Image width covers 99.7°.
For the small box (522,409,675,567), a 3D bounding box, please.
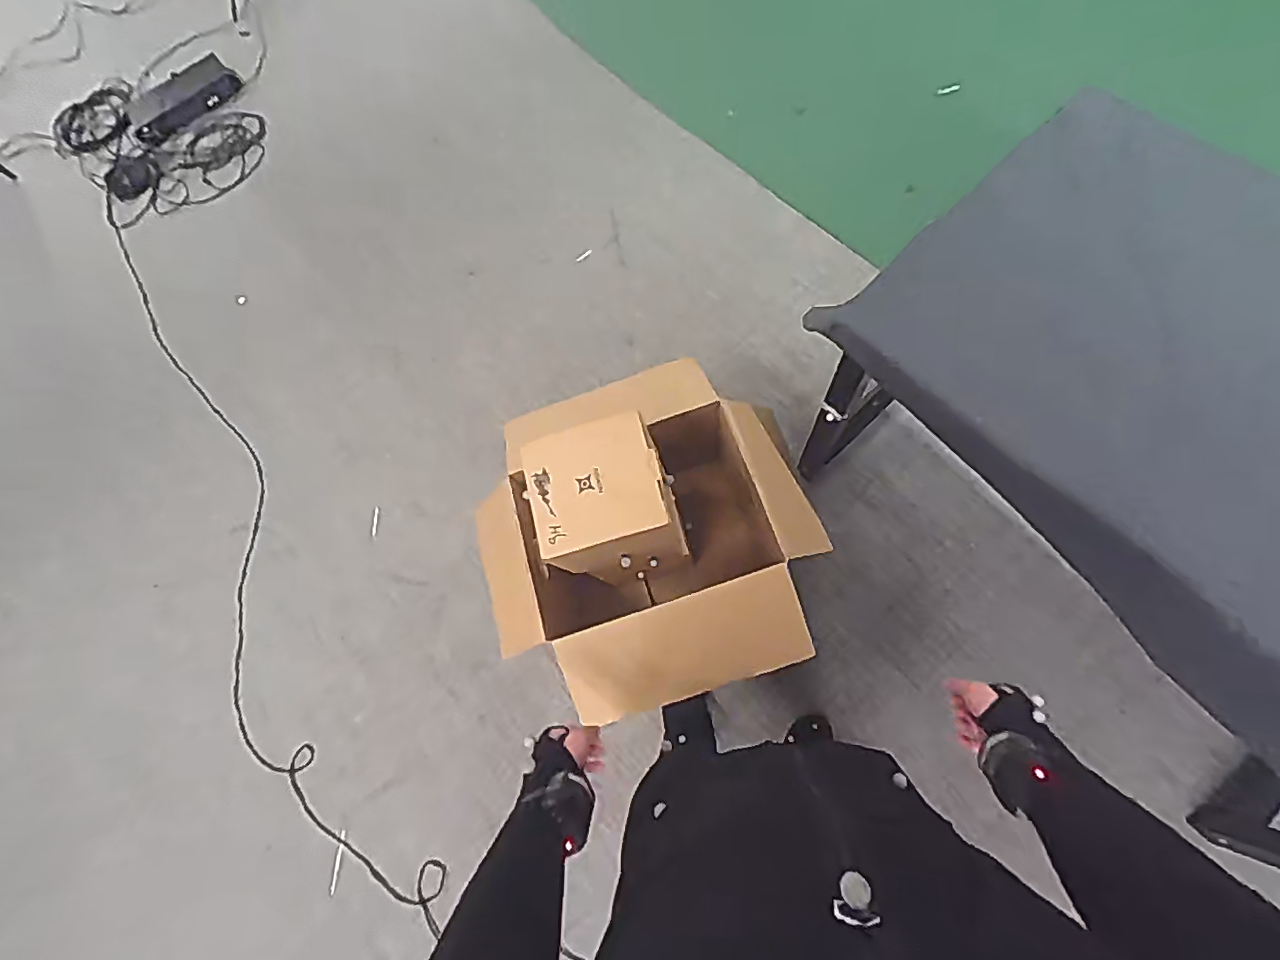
[{"bbox_3d":[-0.050,0.021,0.785,0.179,0.176,0.168,-15,72,4],"label":"small box"}]
